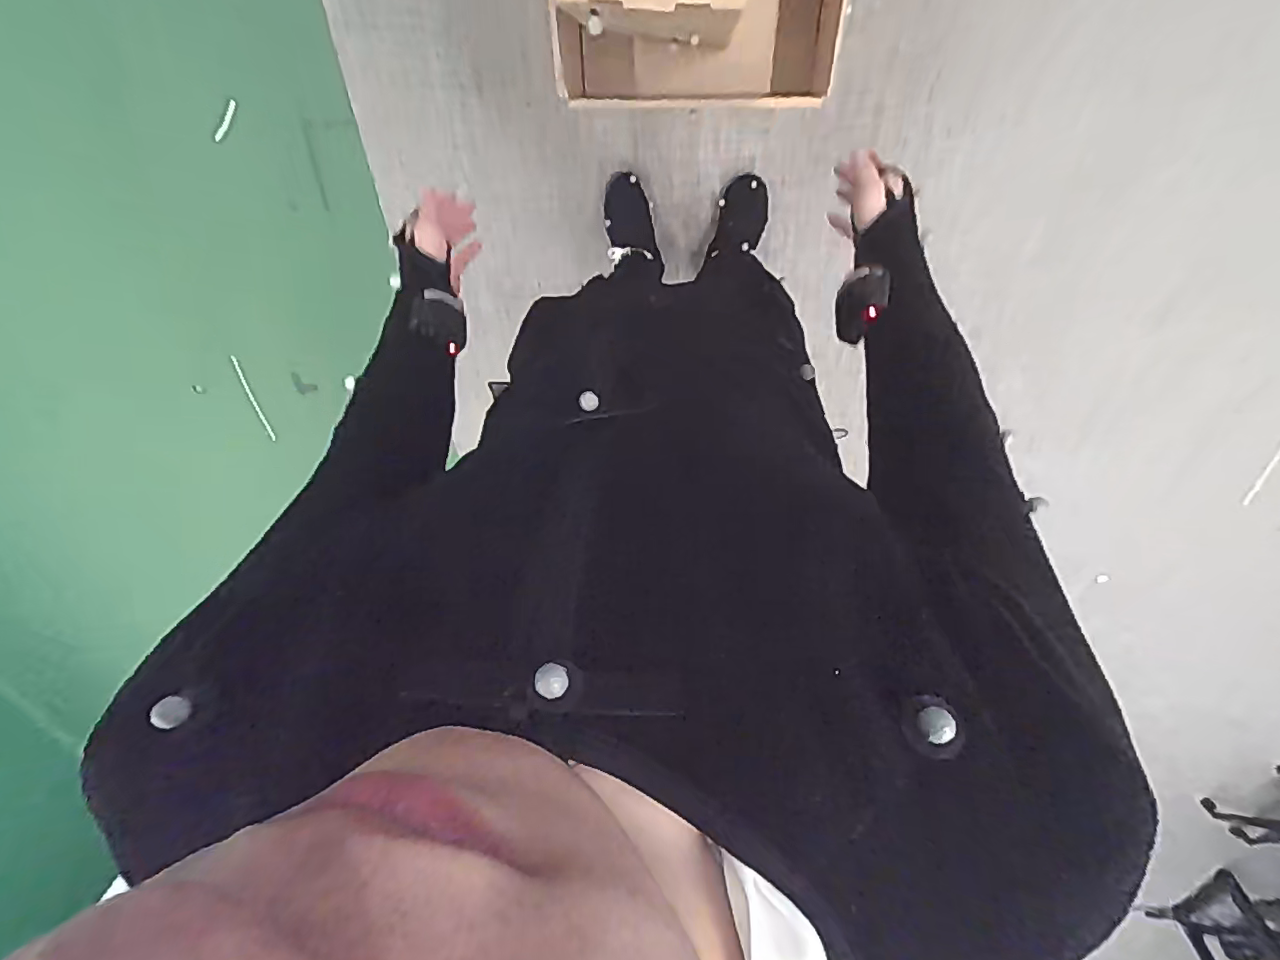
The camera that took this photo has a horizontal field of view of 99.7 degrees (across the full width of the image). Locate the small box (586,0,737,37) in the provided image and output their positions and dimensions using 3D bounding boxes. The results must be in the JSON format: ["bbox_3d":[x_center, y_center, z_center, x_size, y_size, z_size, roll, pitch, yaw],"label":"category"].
[{"bbox_3d":[0.037,-0.616,0.599,0.168,0.176,0.179,7,124,1],"label":"small box"}]
